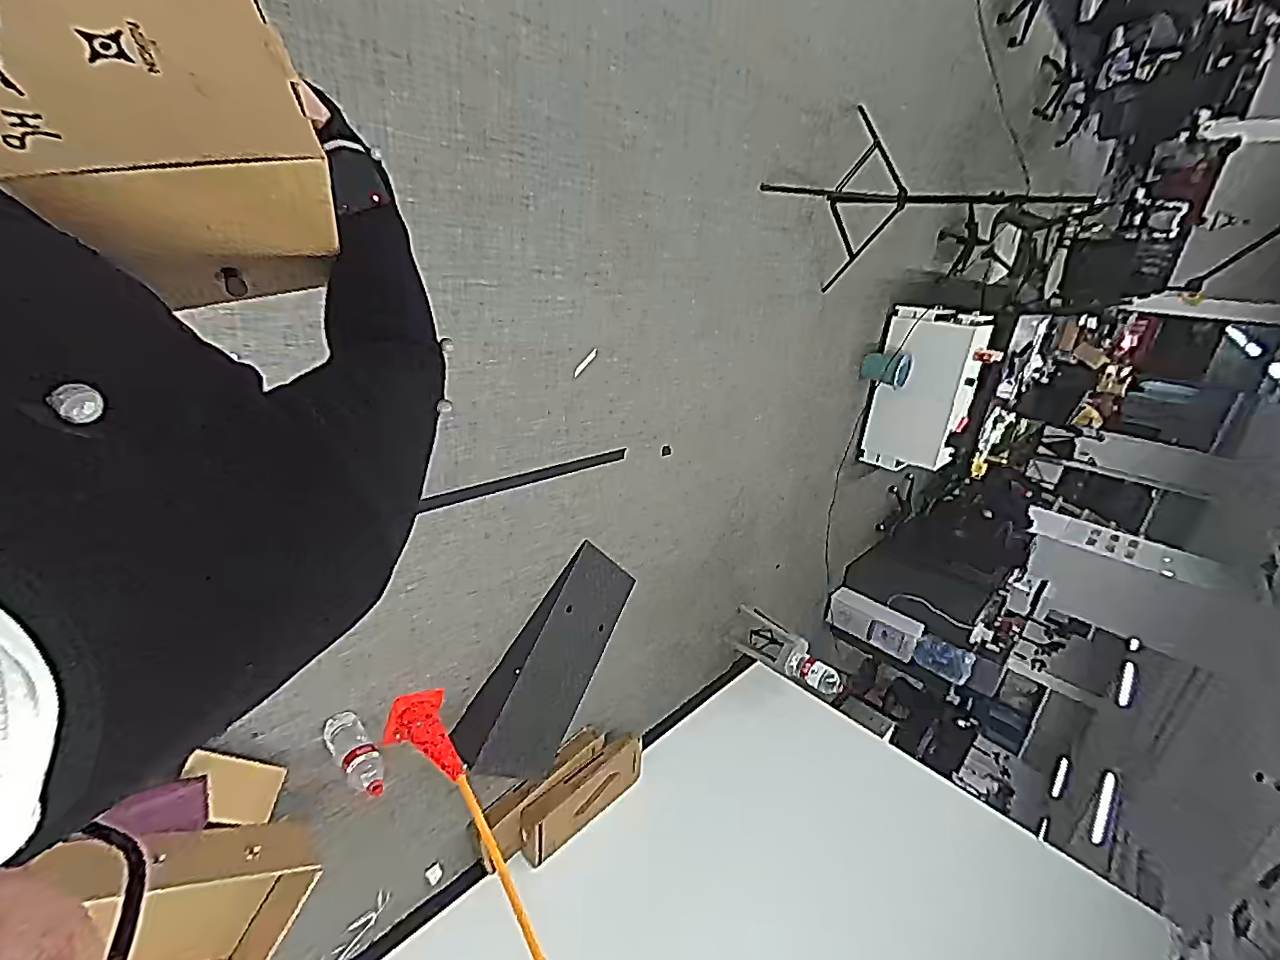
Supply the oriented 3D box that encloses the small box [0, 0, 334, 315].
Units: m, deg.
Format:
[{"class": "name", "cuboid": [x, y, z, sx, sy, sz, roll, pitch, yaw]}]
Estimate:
[{"class": "small box", "cuboid": [-0.362, -0.255, 0.427, 0.179, 0.176, 0.168, -23, 88, -28]}]
